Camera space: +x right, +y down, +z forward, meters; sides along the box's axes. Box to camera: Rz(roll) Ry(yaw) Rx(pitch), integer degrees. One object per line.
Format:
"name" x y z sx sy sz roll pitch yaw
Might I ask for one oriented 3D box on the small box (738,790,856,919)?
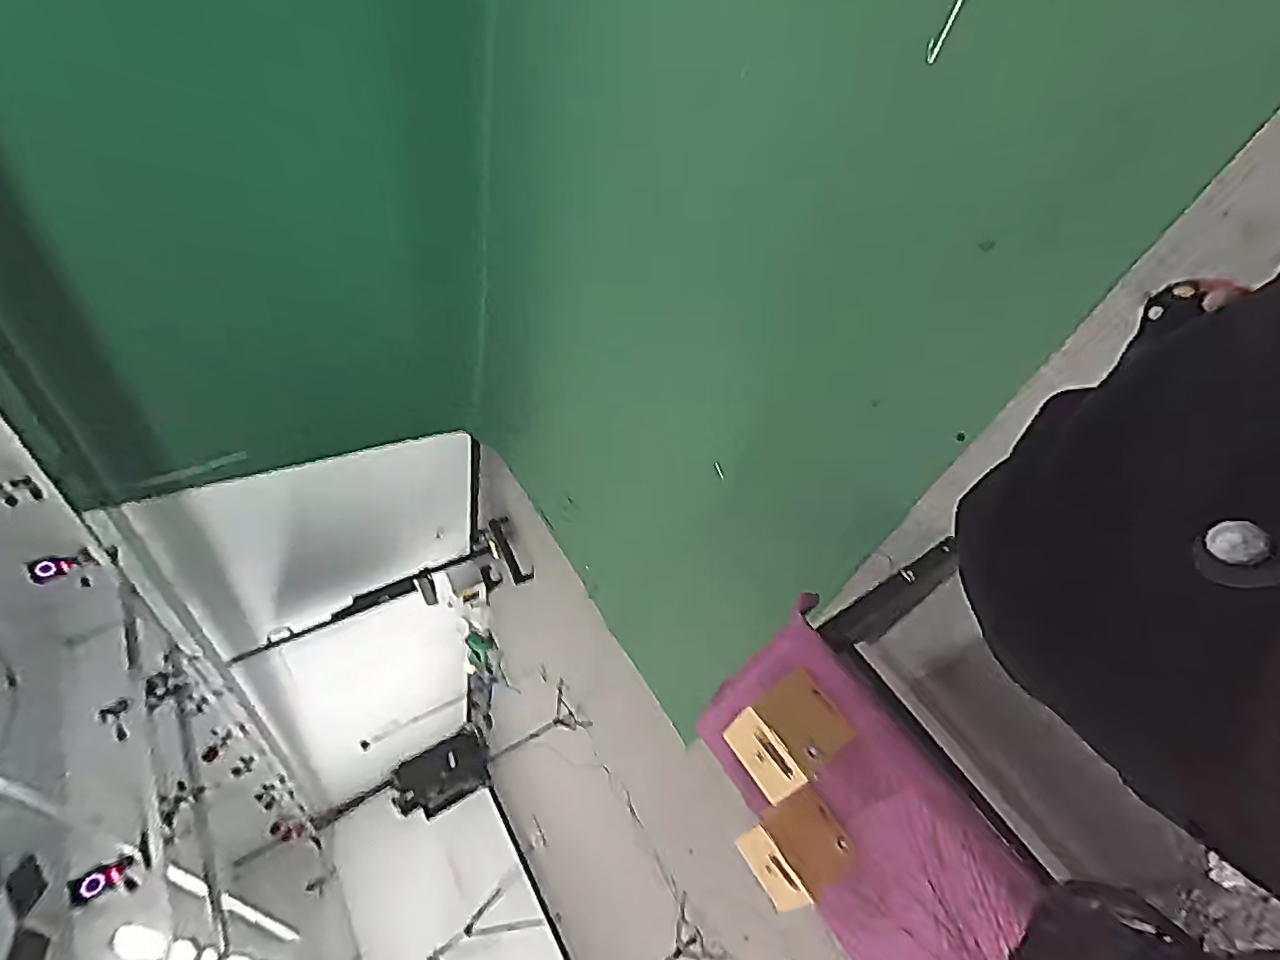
"small box" 0.361 0.849 1.235 0.168 0.176 0.179 50 143 30
